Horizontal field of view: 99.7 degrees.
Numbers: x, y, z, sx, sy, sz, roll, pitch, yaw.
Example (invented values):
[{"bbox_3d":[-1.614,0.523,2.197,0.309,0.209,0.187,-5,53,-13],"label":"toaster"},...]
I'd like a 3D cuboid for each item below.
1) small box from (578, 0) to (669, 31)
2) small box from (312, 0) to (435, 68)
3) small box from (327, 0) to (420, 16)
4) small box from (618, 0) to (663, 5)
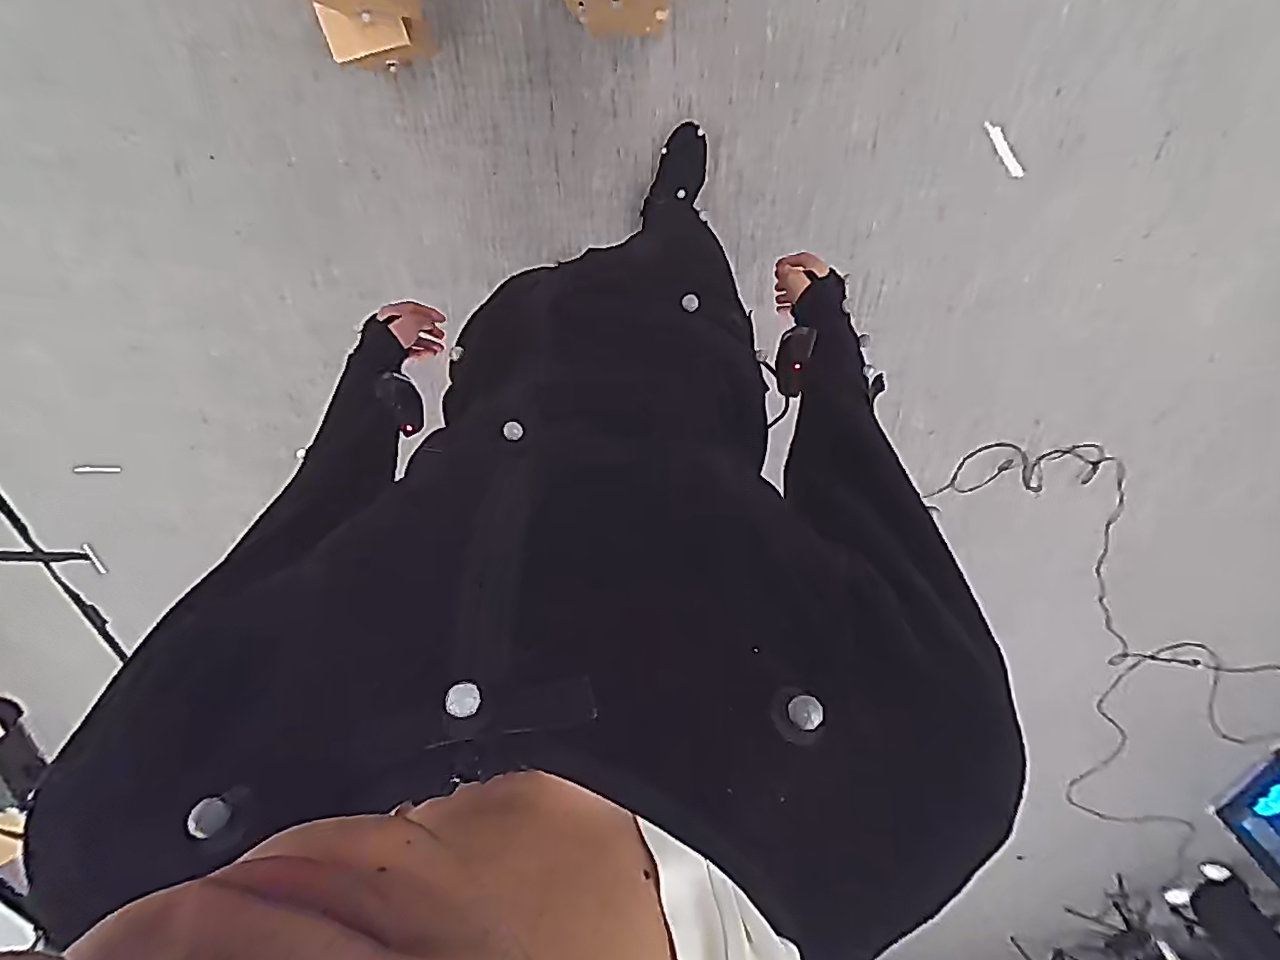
[{"bbox_3d":[-0.029,-1.007,1.068,0.179,0.176,0.168,0,122,0],"label":"small box"},{"bbox_3d":[-0.548,-0.972,1.101,0.168,0.176,0.179,-9,122,8],"label":"small box"},{"bbox_3d":[-0.500,-0.936,0.930,0.168,0.176,0.179,4,122,0],"label":"small box"},{"bbox_3d":[-0.027,-0.829,0.792,0.179,0.176,0.168,6,121,-4],"label":"small box"}]
